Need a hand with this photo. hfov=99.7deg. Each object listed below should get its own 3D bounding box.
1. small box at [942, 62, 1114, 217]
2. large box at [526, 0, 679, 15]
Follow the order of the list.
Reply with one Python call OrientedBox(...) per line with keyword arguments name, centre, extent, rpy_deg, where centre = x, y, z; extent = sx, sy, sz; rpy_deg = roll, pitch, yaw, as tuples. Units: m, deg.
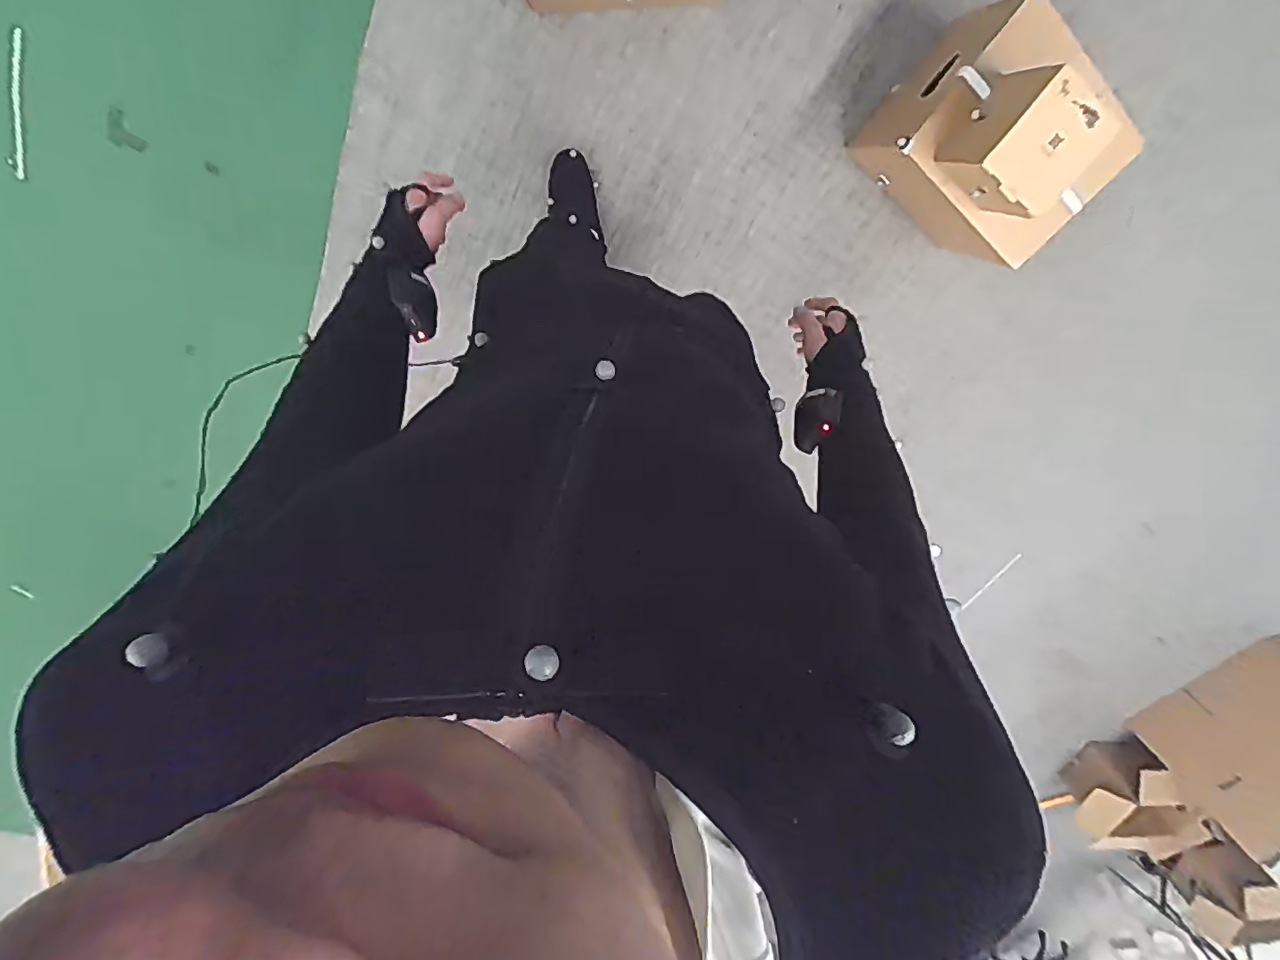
OrientedBox(name="small box", centre=(0.703, -0.627, 1.009), extent=(0.168, 0.176, 0.179), rpy_deg=(29, 117, -19))
OrientedBox(name="large box", centre=(-0.039, -1.081, 0.971), extent=(0.408, 0.320, 0.320), rpy_deg=(-5, 120, 0))
